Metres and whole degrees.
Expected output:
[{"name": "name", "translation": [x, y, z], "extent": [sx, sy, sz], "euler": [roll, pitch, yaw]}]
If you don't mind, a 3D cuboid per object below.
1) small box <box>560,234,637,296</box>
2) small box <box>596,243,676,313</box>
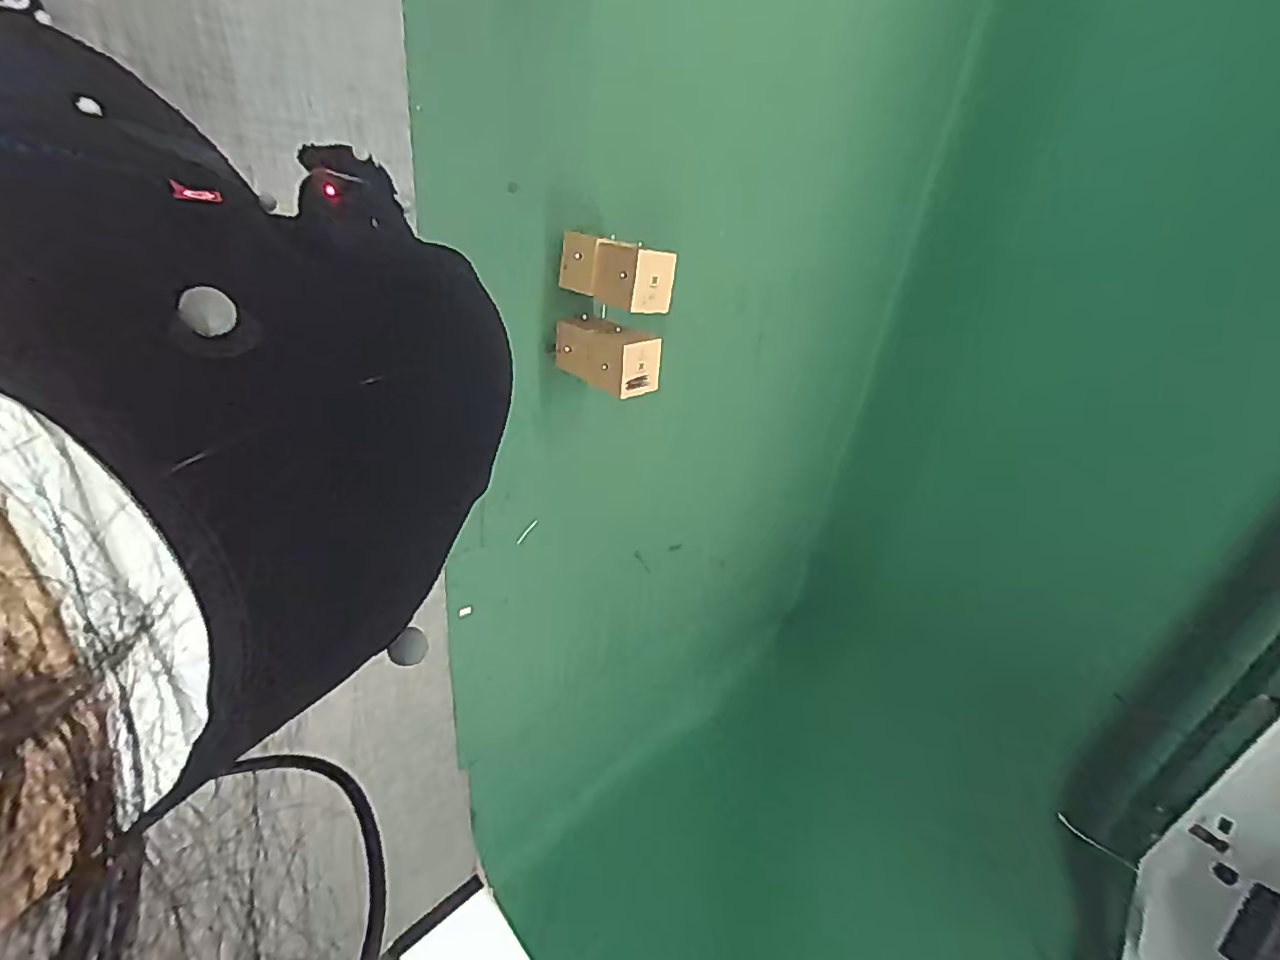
[{"name": "small box", "translation": [-0.137, -0.681, 1.726], "extent": [0.179, 0.176, 0.168], "euler": [-15, 123, -44]}, {"name": "small box", "translation": [-0.017, -0.611, 1.637], "extent": [0.168, 0.176, 0.179], "euler": [-15, 124, -43]}]
